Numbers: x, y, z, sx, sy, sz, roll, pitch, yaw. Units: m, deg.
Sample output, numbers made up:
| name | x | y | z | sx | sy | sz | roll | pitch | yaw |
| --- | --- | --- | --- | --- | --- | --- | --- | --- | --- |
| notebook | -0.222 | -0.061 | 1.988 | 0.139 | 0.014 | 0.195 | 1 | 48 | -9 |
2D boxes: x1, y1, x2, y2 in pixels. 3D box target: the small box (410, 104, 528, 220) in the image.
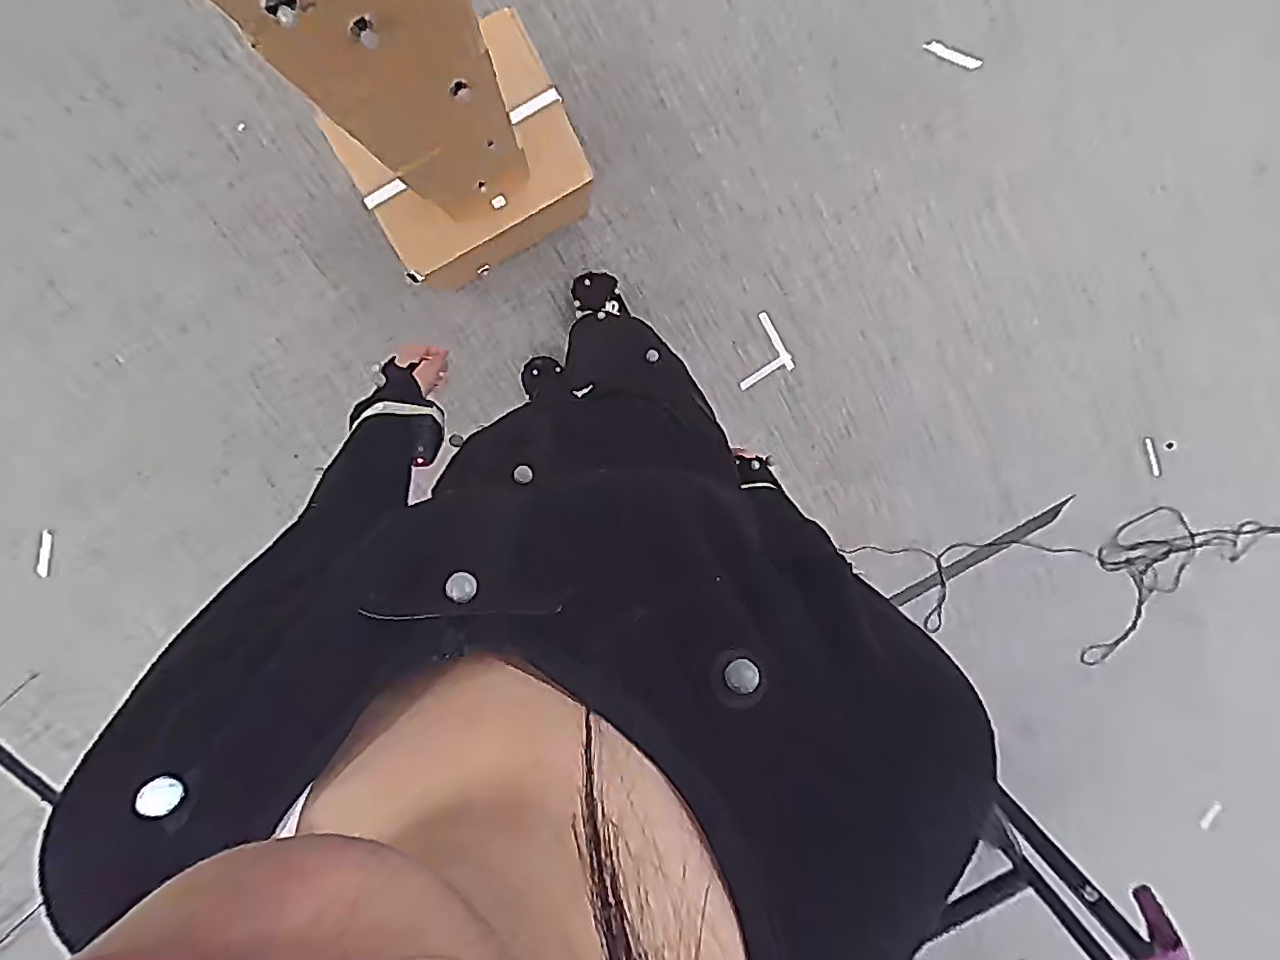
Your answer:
| name | x | y | z | sx | sy | sz | roll | pitch | yaw |
| --- | --- | --- | --- | --- | --- | --- | --- | --- | --- |
| small box | -0.309 | -0.576 | 0.929 | 0.179 | 0.176 | 0.168 | -32 | 107 | 1 |

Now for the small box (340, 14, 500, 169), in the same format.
| name | x | y | z | sx | sy | sz | roll | pitch | yaw |
| --- | --- | --- | --- | --- | --- | --- | --- | --- | --- |
| small box | -0.274 | -0.491 | 0.613 | 0.179 | 0.176 | 0.168 | -28 | 106 | 1 |

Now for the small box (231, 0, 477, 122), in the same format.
| name | x | y | z | sx | sy | sz | roll | pitch | yaw |
| --- | --- | --- | --- | --- | --- | --- | --- | --- | --- |
| small box | -0.256 | -0.450 | 0.458 | 0.179 | 0.176 | 0.168 | -27 | 107 | 1 |

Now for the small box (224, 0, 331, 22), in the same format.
| name | x | y | z | sx | sy | sz | roll | pitch | yaw |
| --- | --- | --- | --- | --- | --- | --- | --- | --- | --- |
| small box | -0.235 | -0.409 | 0.300 | 0.168 | 0.176 | 0.179 | -27 | 106 | 1 |
